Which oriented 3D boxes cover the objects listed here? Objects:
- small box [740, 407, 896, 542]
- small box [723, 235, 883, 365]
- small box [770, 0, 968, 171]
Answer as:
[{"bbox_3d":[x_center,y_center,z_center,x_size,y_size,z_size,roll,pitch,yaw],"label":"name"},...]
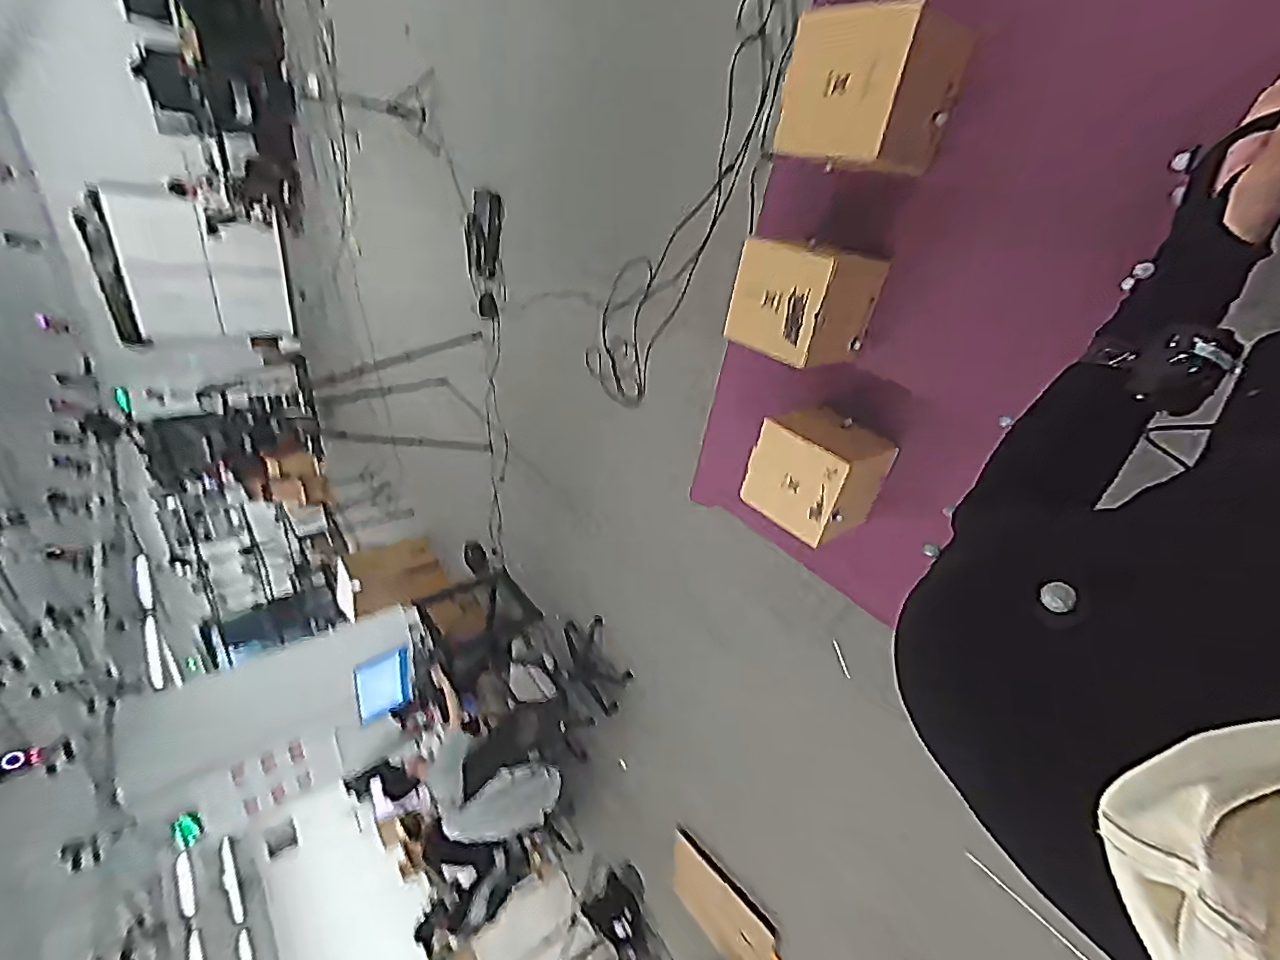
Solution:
[{"bbox_3d":[0.314,-0.020,0.967,0.179,0.176,0.168,38,131,37],"label":"small box"},{"bbox_3d":[0.274,-0.309,0.915,0.179,0.176,0.168,37,129,38],"label":"small box"},{"bbox_3d":[0.322,-0.550,0.772,0.179,0.176,0.168,35,129,37],"label":"small box"}]
